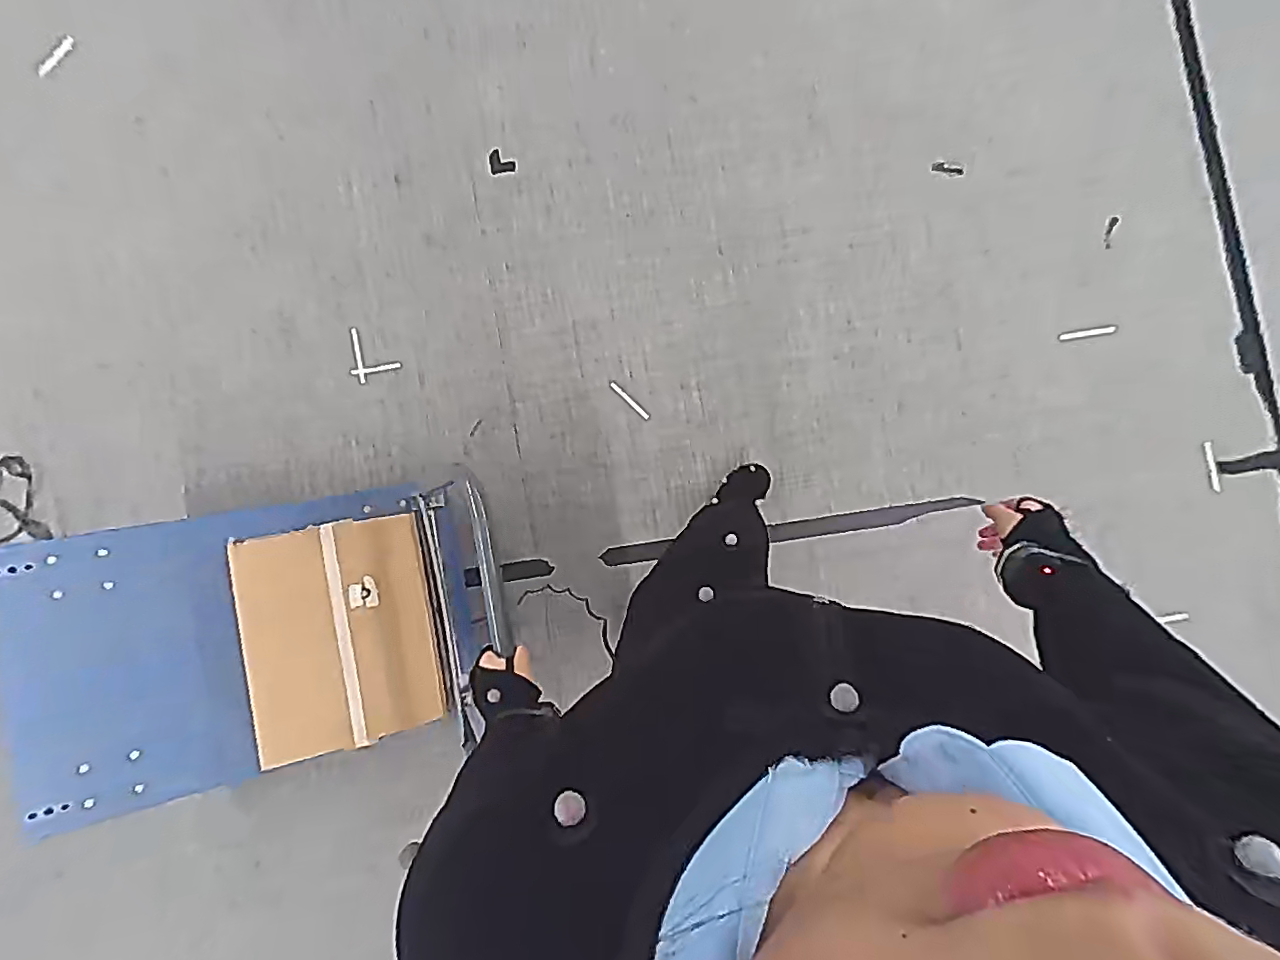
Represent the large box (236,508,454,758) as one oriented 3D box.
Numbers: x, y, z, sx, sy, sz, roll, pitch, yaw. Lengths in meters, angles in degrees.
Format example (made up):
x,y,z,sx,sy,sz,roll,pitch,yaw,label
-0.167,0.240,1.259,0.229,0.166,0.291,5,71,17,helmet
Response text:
x,y,z,sx,sy,sz,roll,pitch,yaw,label
-0.593,0.289,1.149,0.320,0.320,0.408,-10,88,-22,large box
